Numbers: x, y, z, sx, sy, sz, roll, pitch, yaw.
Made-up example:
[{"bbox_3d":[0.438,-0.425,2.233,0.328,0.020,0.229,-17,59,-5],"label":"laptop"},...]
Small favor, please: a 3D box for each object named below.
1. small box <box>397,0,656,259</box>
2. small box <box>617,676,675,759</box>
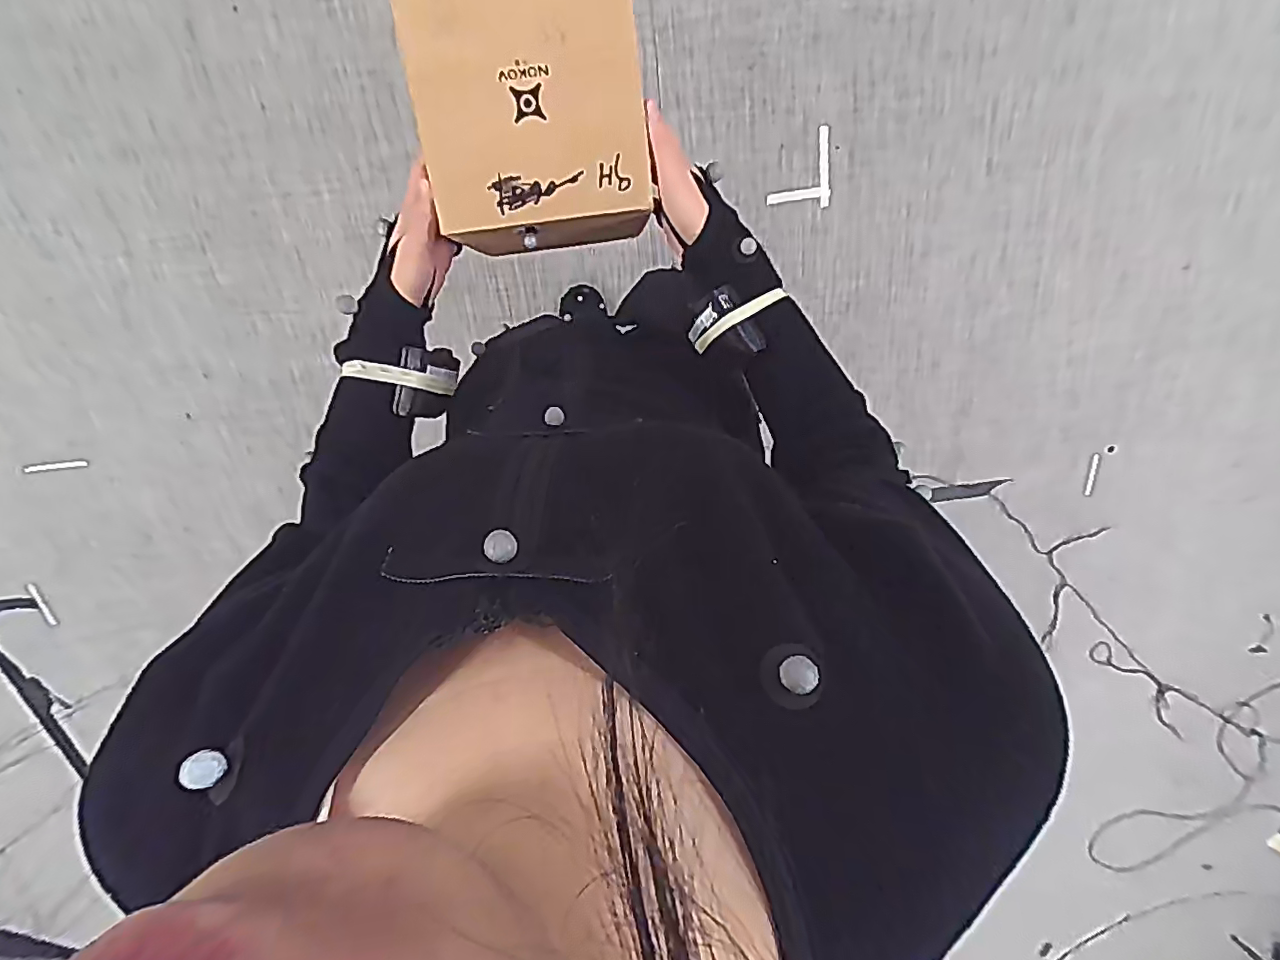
[{"bbox_3d":[-0.084,-0.299,0.462,0.168,0.176,0.179,-8,107,-2],"label":"small box"},{"bbox_3d":[0.018,0.780,1.783,0.168,0.176,0.179,-8,112,-3],"label":"small box"}]
